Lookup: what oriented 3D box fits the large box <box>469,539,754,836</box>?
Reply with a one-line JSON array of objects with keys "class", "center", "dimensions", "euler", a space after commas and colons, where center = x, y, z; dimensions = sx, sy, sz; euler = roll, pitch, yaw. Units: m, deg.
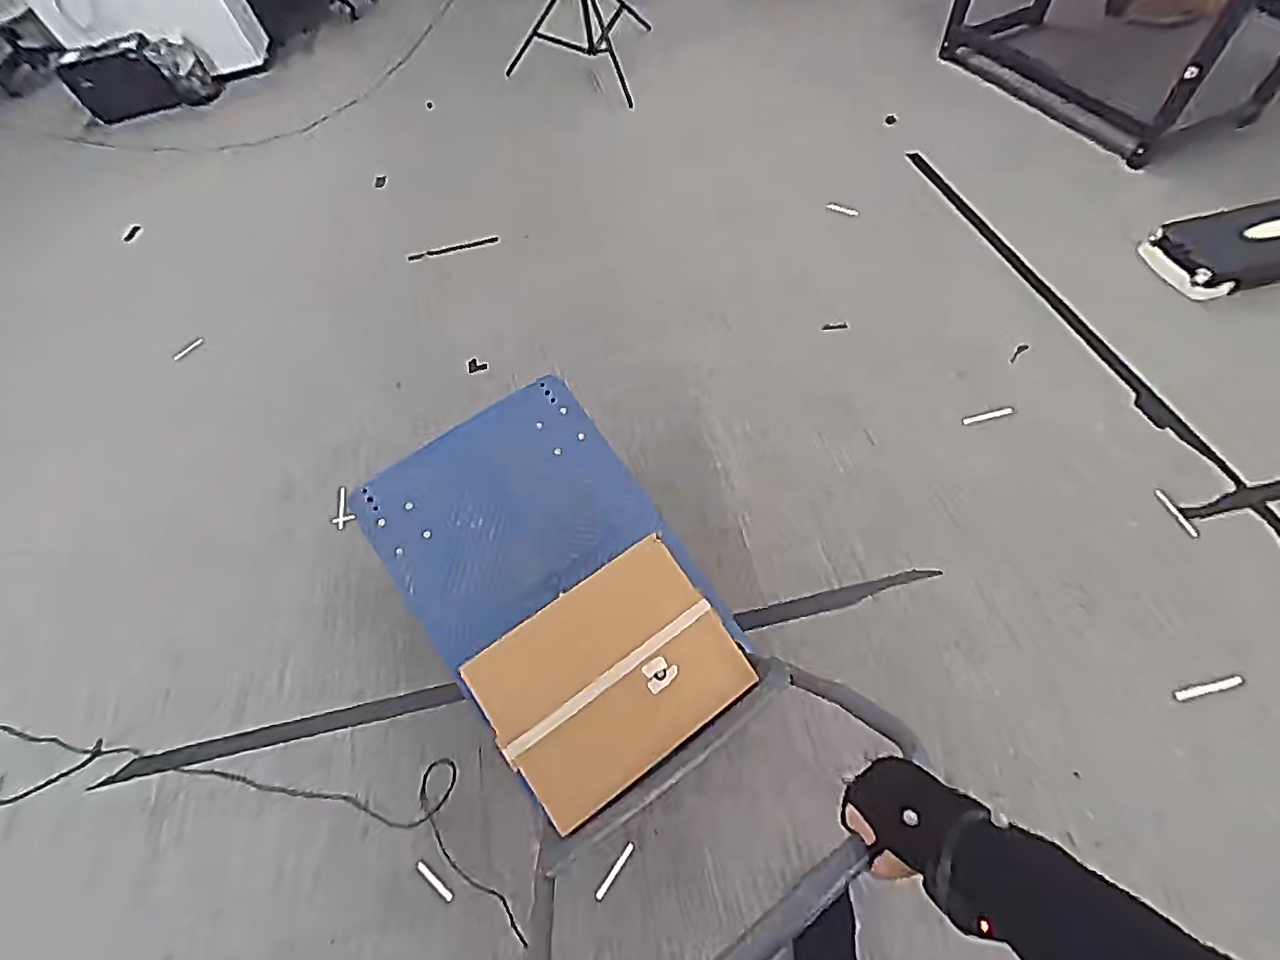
[{"class": "large box", "center": [-0.057, 0.377, 1.065], "dimensions": [0.408, 0.320, 0.320], "euler": [-35, 82, -13]}]
